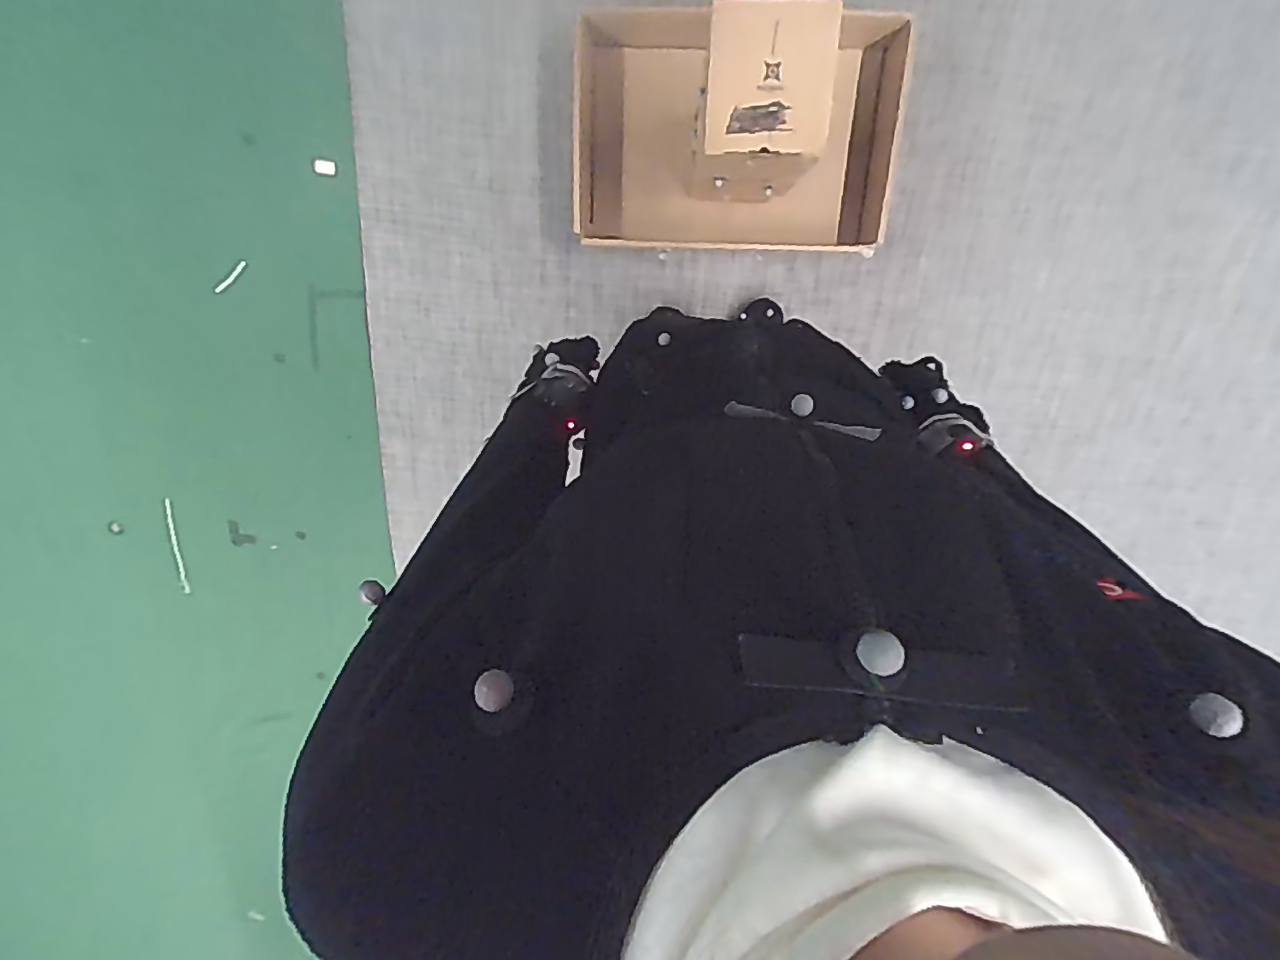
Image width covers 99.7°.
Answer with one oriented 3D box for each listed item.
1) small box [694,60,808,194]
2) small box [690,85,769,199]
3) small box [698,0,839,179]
[{"bbox_3d":[0.186,-0.598,0.929,0.179,0.176,0.168,0,108,4],"label":"small box"},{"bbox_3d":[0.193,-0.674,1.094,0.179,0.176,0.168,1,108,3],"label":"small box"},{"bbox_3d":[0.173,-0.552,0.788,0.168,0.176,0.179,3,107,3],"label":"small box"}]
